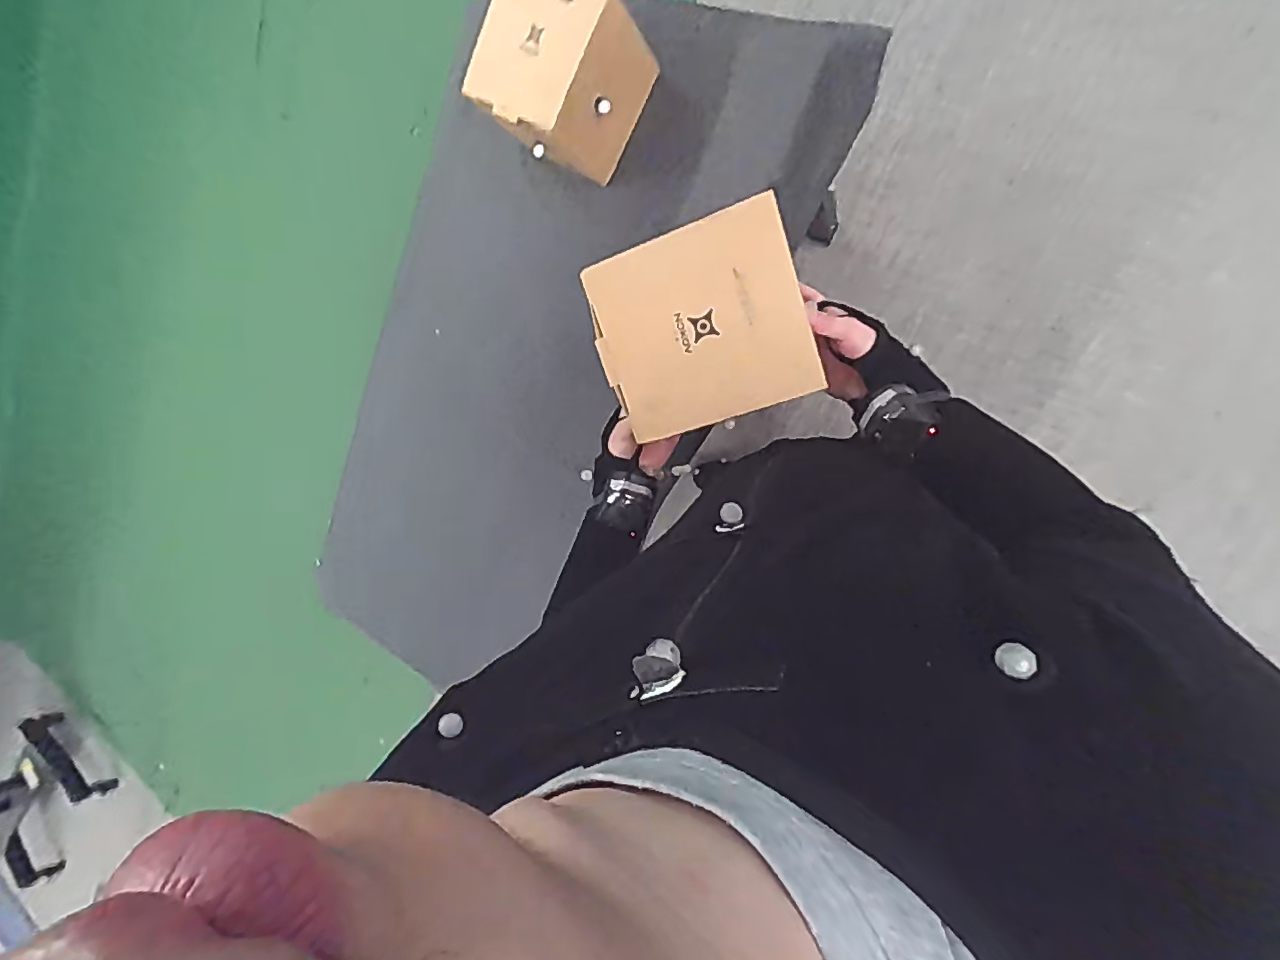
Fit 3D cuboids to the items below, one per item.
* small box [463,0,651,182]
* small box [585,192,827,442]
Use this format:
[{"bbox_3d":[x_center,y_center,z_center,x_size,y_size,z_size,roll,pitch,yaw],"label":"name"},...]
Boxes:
[{"bbox_3d":[-0.107,-0.559,0.762,0.168,0.176,0.179,34,107,15],"label":"small box"},{"bbox_3d":[0.073,-0.151,0.539,0.179,0.176,0.168,-16,101,17],"label":"small box"}]
